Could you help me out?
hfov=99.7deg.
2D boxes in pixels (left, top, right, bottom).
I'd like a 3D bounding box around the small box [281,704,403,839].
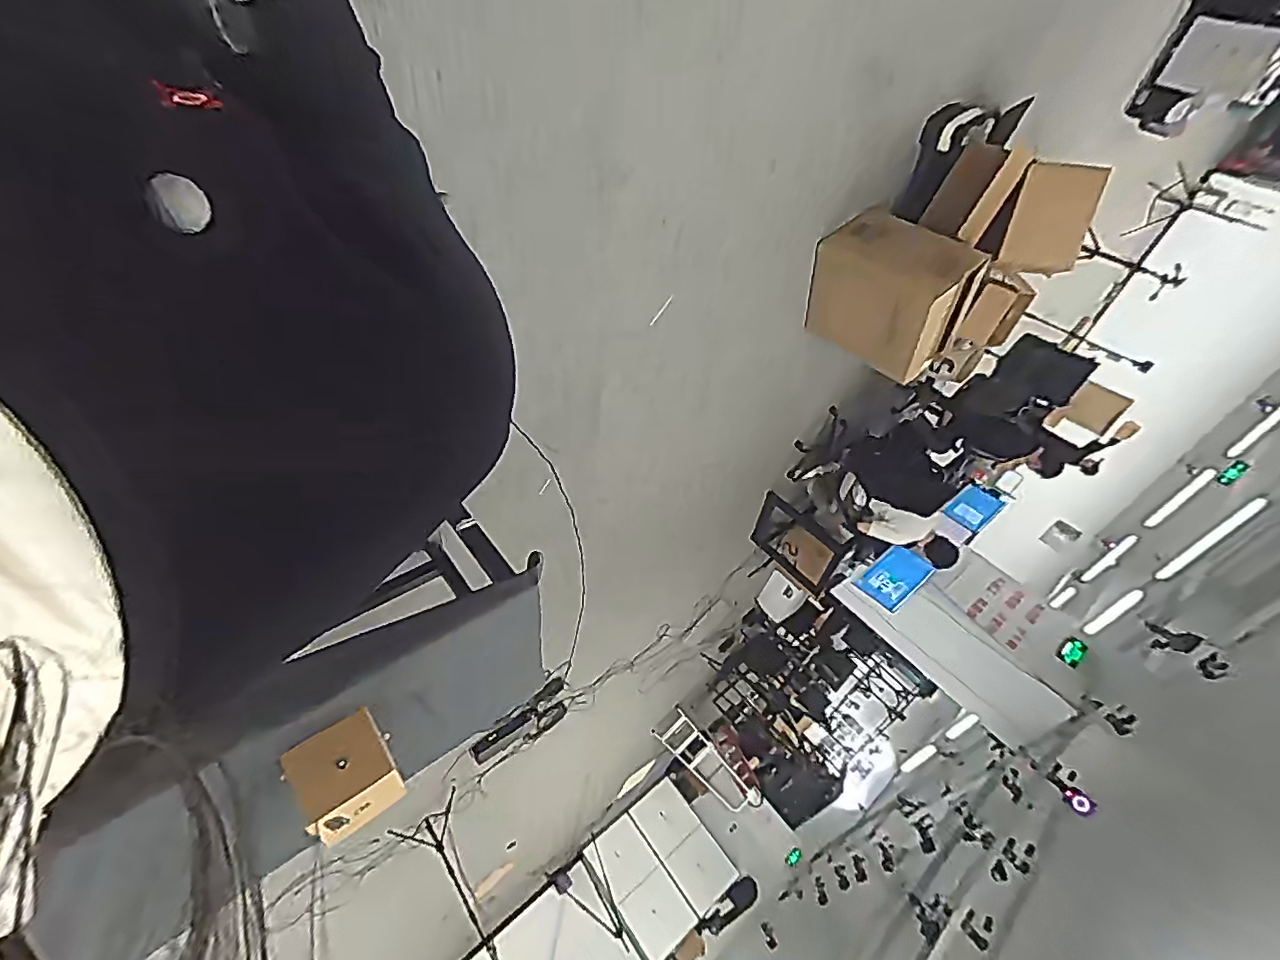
[{"bbox_3d":[-0.650,0.630,1.178,0.179,0.176,0.168,-27,145,-28],"label":"small box"}]
